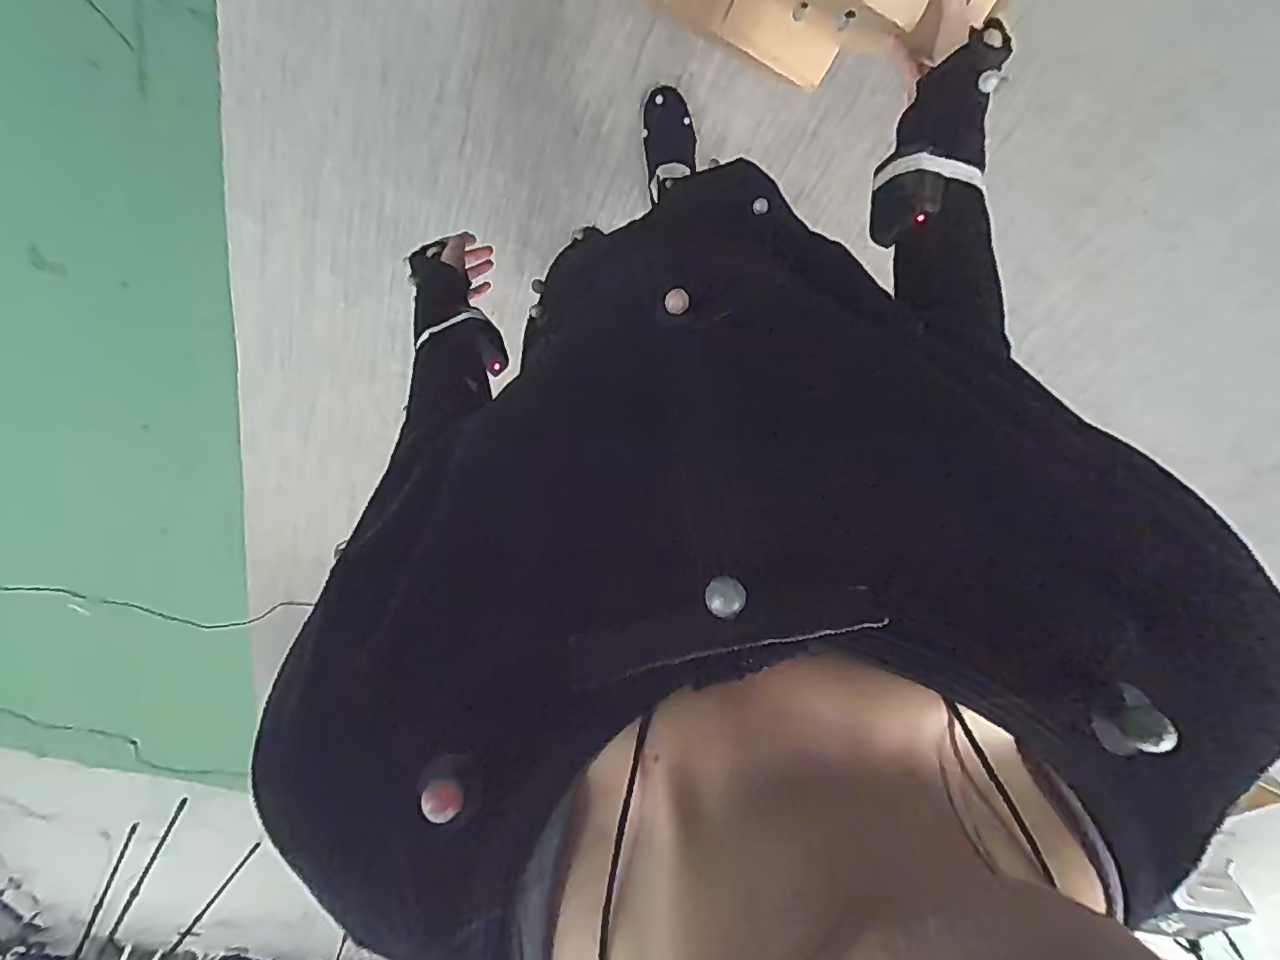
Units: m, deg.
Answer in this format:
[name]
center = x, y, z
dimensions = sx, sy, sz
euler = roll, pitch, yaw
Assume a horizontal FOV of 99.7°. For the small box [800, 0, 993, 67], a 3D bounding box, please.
[small box]
center = 0.234, -0.506, 0.477
dimensions = 0.179, 0.176, 0.168
euler = 21, 127, -14
